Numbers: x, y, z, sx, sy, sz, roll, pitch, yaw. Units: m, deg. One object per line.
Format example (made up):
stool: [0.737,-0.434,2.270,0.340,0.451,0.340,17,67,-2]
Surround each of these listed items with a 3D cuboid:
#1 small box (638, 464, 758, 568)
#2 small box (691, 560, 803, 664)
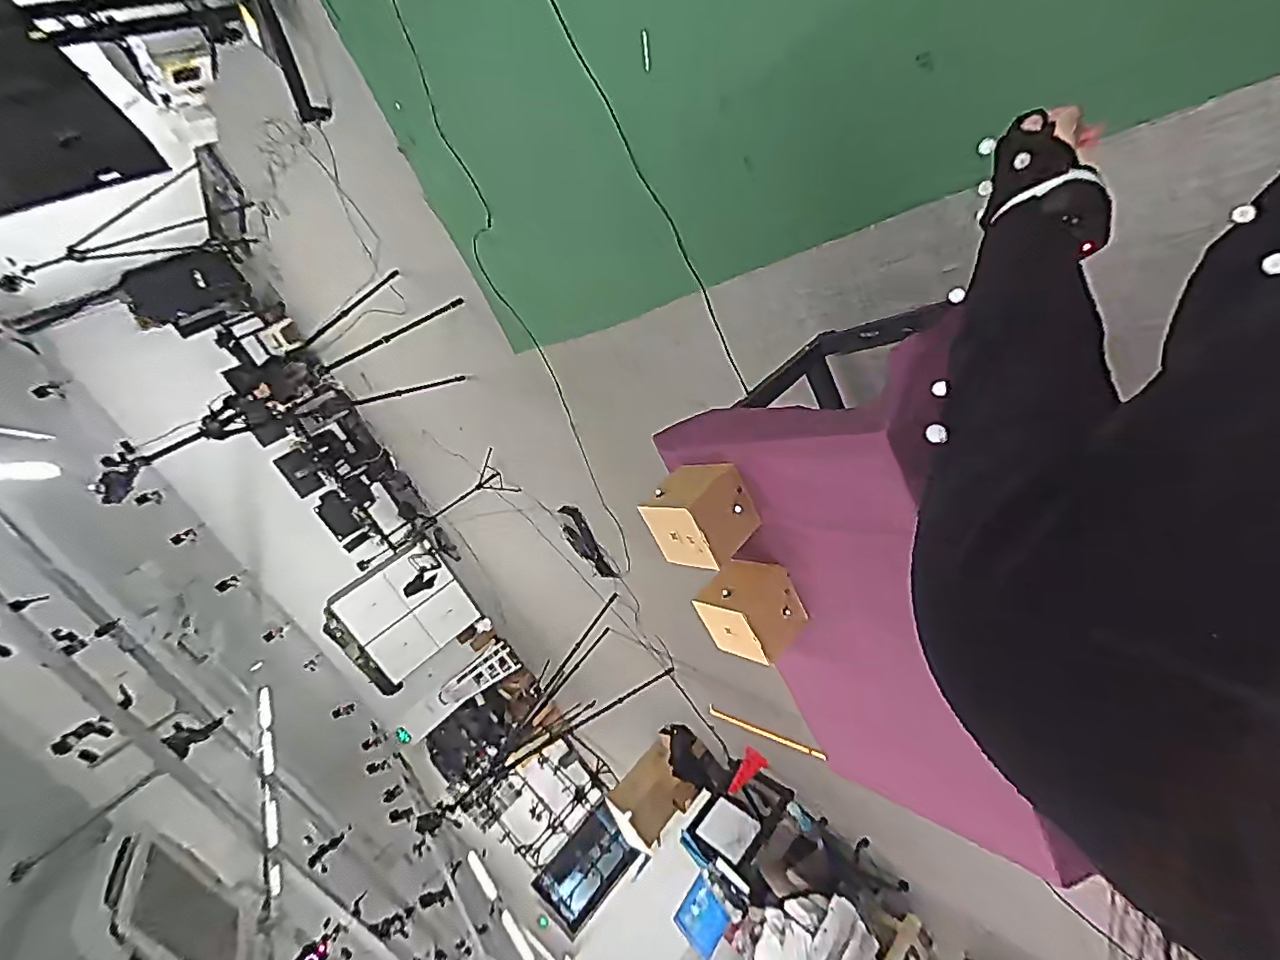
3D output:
small box: [0.134,0.075,1.229,0.179,0.176,0.168,-1,124,52]
small box: [0.264,0.313,1.328,0.179,0.176,0.168,-2,122,54]
